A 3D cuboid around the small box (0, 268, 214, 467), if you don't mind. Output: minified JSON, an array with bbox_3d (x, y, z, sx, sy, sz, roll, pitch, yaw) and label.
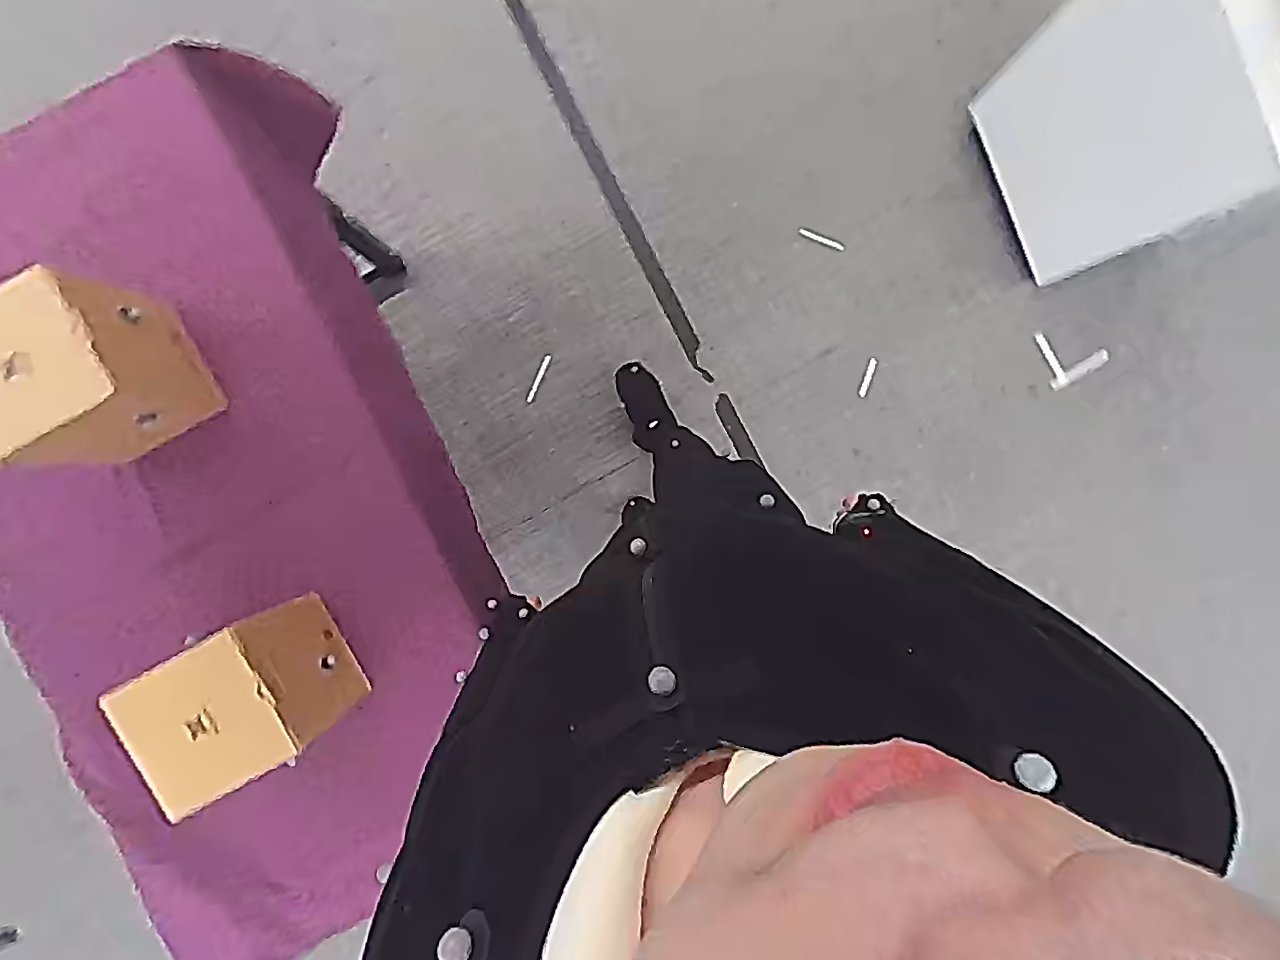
[{"bbox_3d":[-0.693,-0.130,0.680,0.179,0.176,0.168,-29,92,2],"label":"small box"}]

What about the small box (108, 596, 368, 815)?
[{"bbox_3d":[-0.500,0.276,0.702,0.179,0.176,0.168,-30,92,1],"label":"small box"}]
